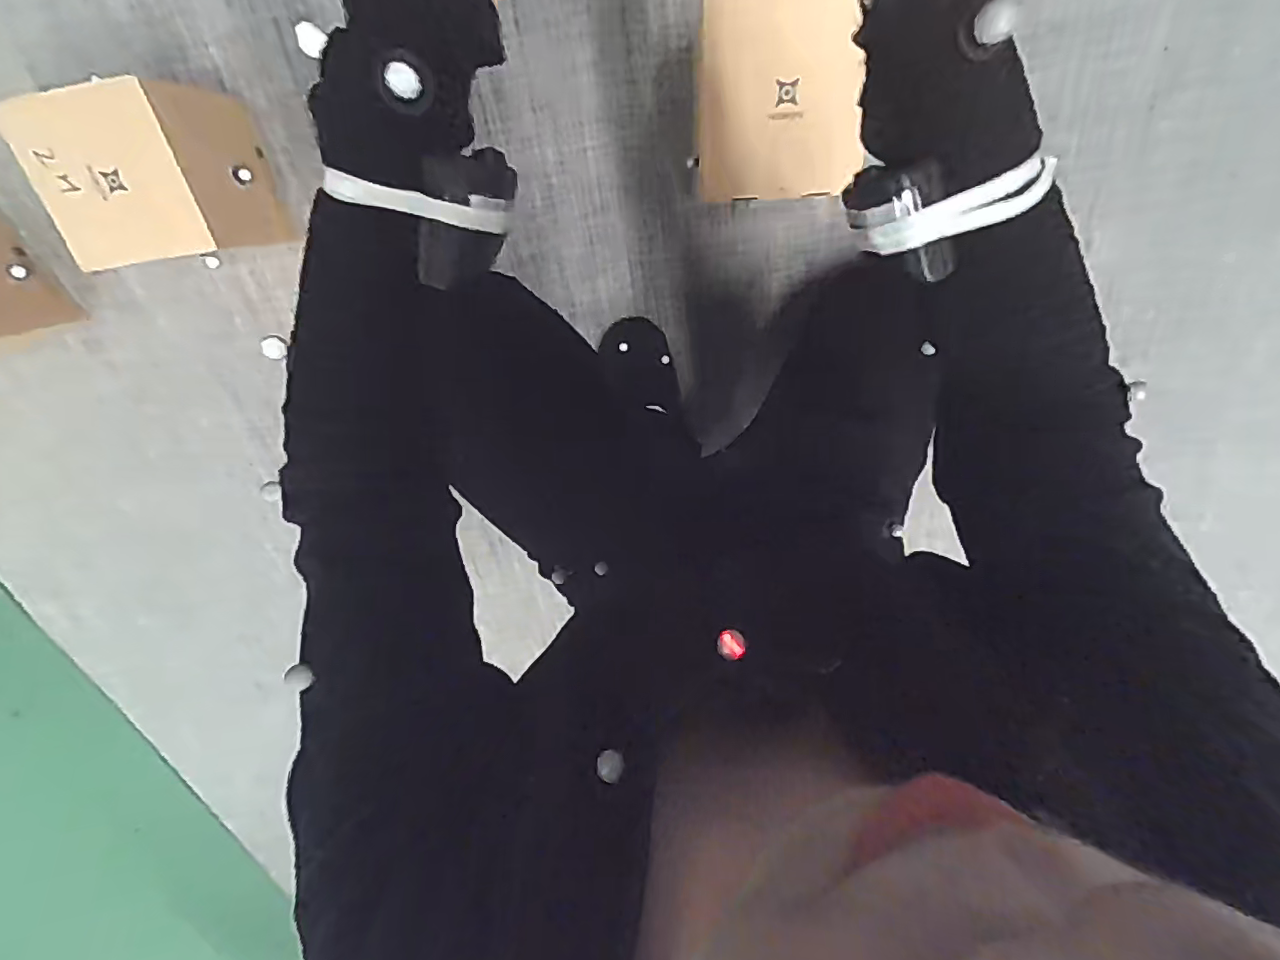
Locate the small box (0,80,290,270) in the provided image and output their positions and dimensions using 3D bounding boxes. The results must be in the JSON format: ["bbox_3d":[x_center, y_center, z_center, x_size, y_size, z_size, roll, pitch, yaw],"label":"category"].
[{"bbox_3d":[-0.568,-0.361,0.656,0.179,0.176,0.168,-6,117,5],"label":"small box"}]

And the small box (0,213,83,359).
[{"bbox_3d":[-0.943,-0.249,0.731,0.179,0.176,0.168,-18,116,11],"label":"small box"}]
